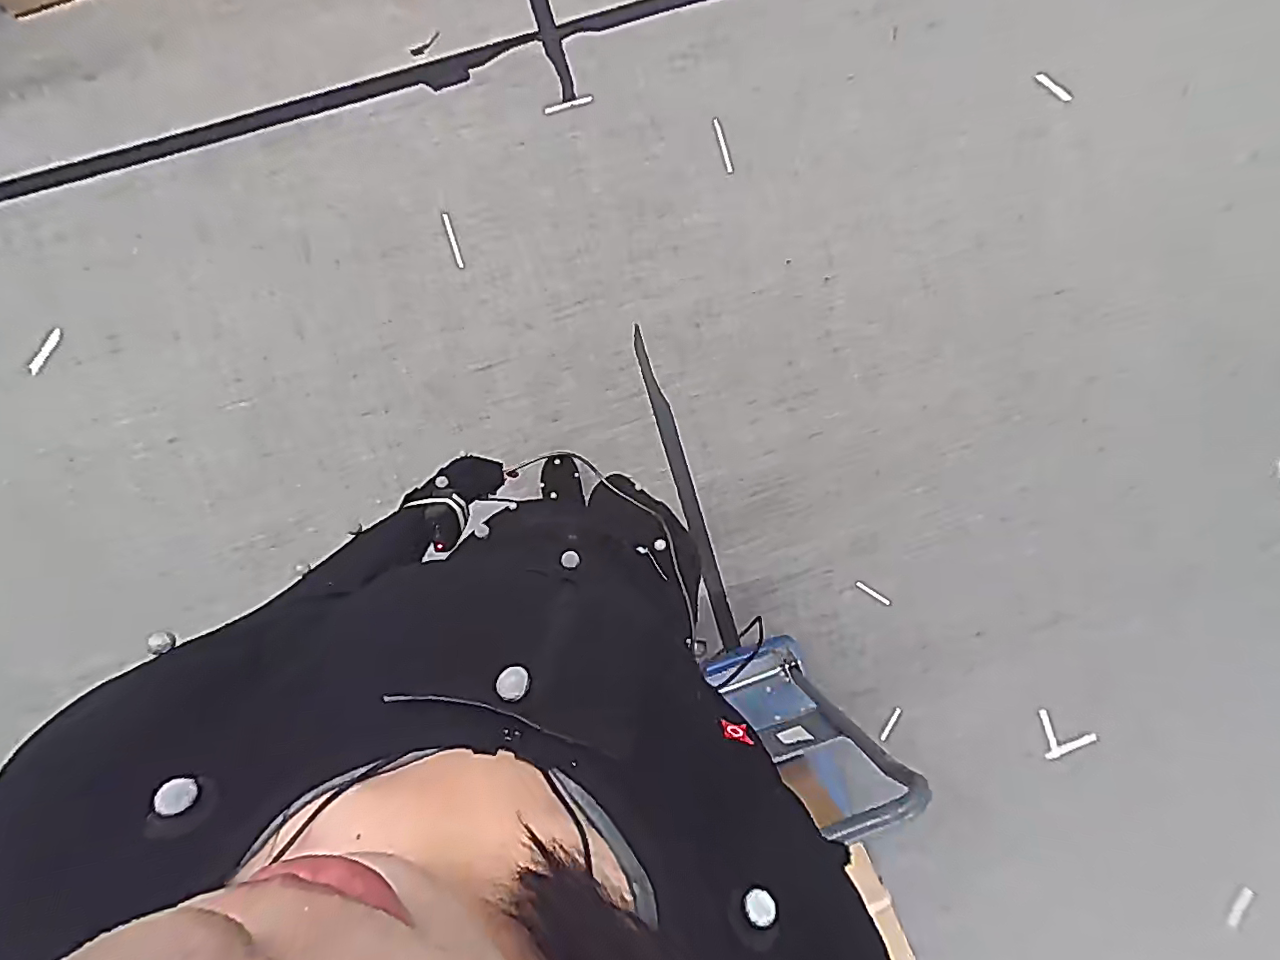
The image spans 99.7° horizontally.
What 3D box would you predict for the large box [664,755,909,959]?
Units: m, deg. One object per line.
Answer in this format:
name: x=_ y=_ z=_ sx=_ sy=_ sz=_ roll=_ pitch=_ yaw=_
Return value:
large box: x=0.310 y=0.930 z=1.250 sx=0.408 sy=0.320 sz=0.320 roll=-25 pitch=92 yaw=-3
